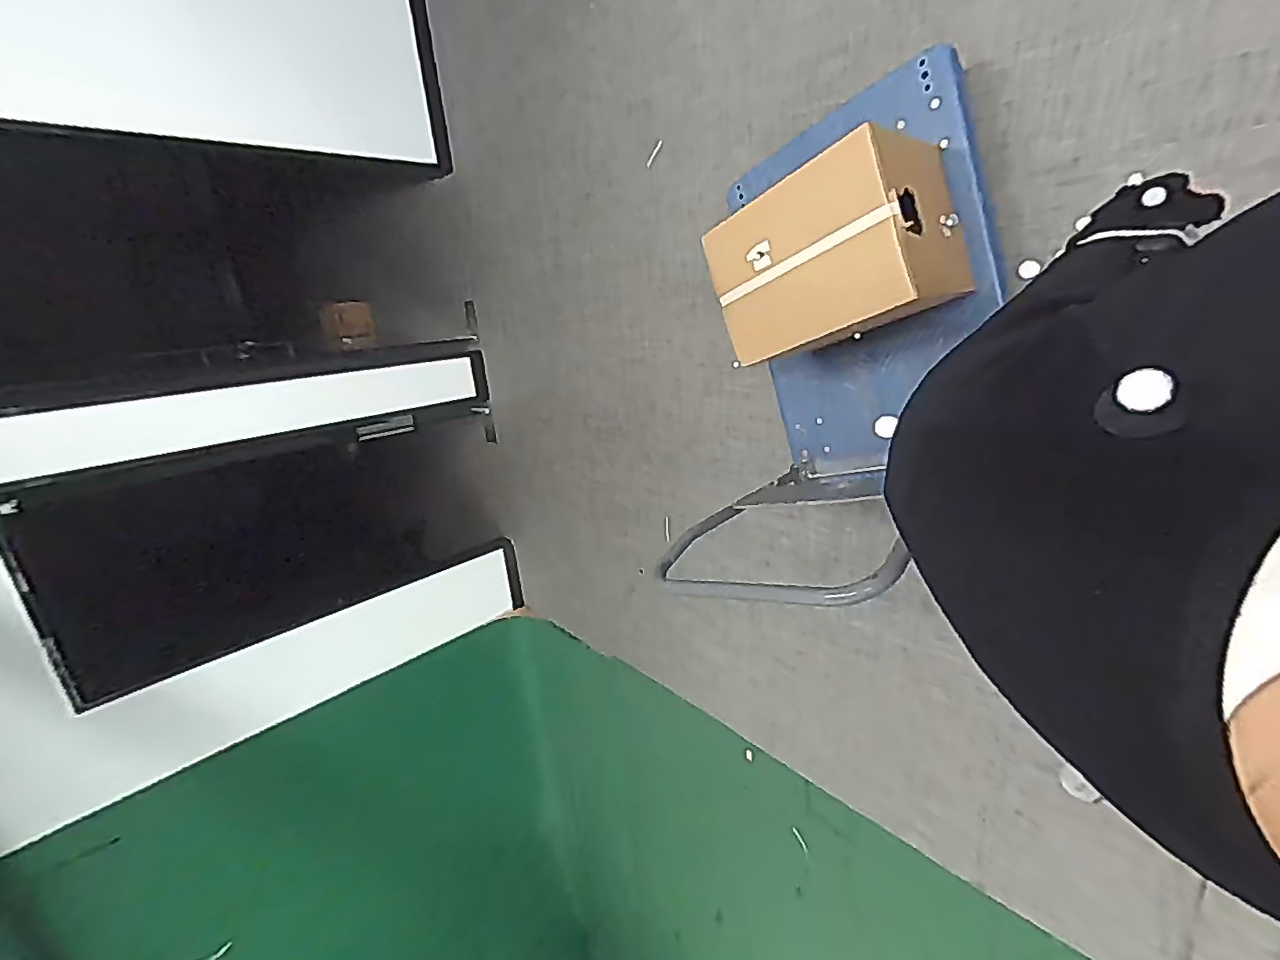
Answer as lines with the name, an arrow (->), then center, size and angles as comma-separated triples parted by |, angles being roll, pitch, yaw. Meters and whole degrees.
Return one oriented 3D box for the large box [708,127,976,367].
large box -> 0.429, -0.475, 1.179 | 0.408, 0.320, 0.320 | -13, 94, 52
